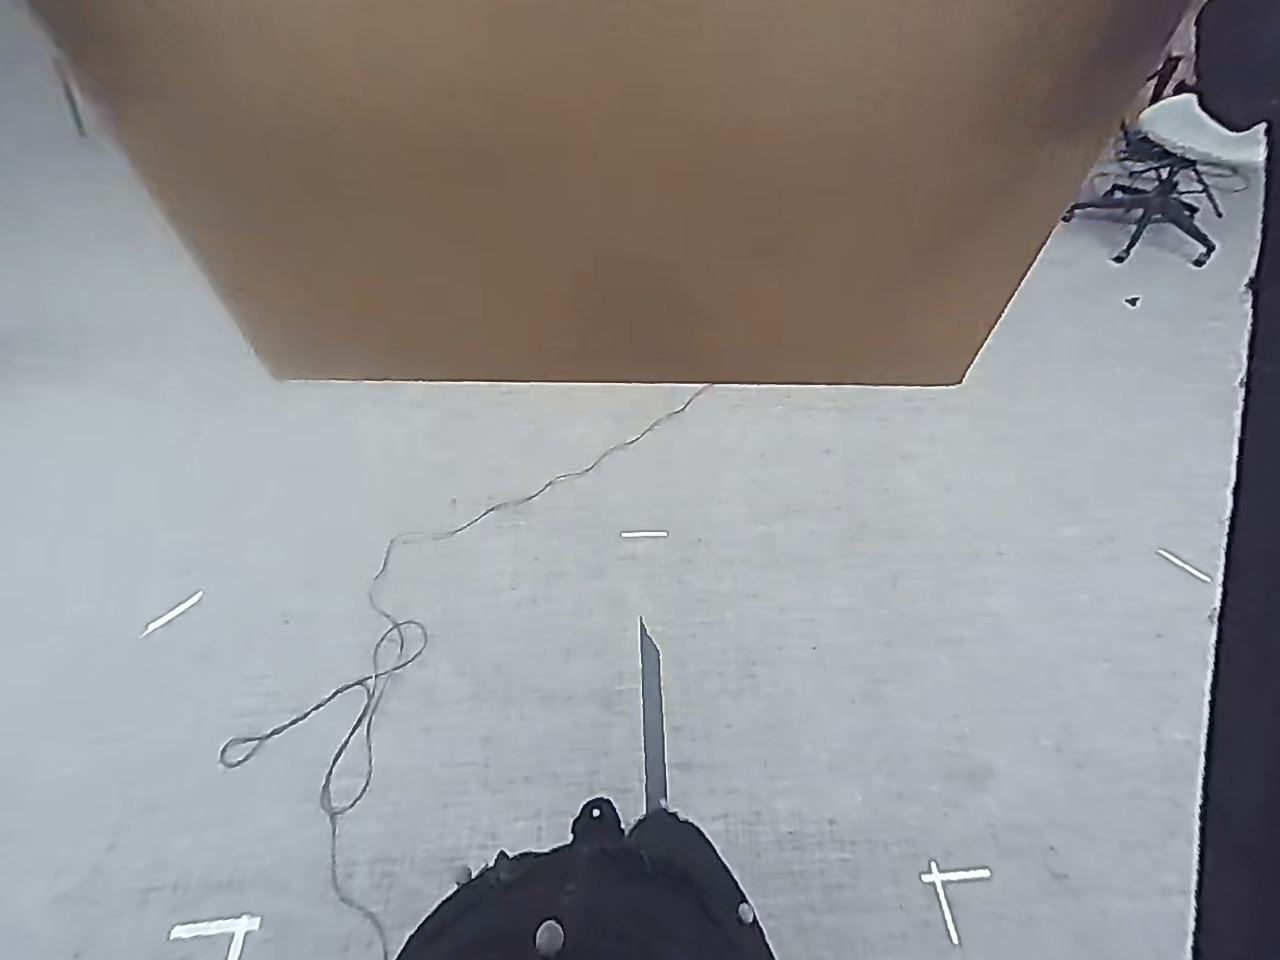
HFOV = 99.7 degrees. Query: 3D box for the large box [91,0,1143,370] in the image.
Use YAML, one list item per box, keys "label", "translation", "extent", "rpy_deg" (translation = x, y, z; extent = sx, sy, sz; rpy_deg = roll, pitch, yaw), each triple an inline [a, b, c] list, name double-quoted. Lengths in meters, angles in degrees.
- label: "large box"
  translation: [-0.009, -0.277, 0.312]
  extent: [0.408, 0.320, 0.320]
  rpy_deg: [1, 51, -1]
